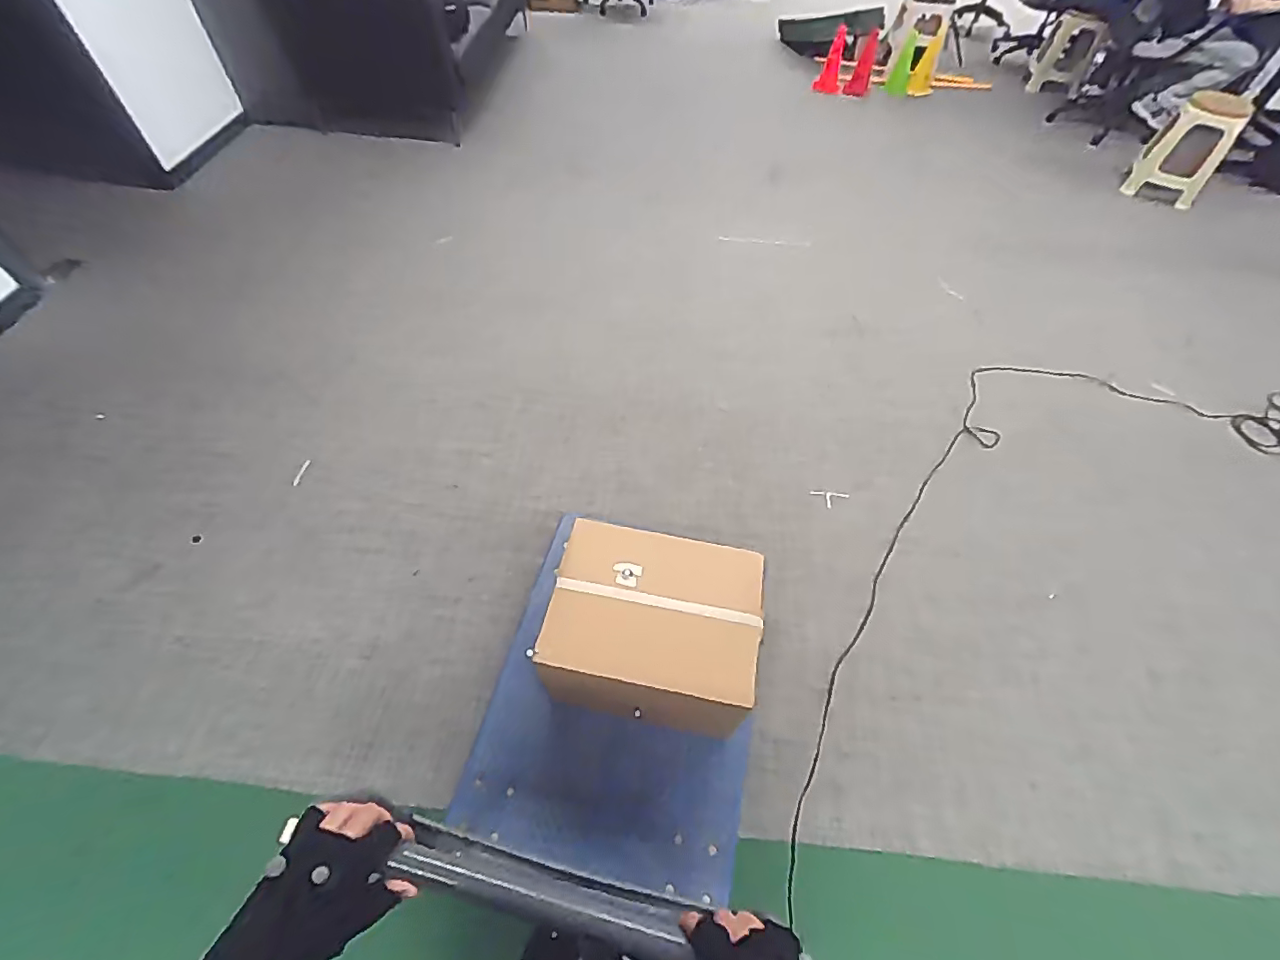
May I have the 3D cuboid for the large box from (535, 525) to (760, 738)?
[{"bbox_3d":[0.028,0.333,1.171,0.408,0.320,0.320,10,53,6],"label":"large box"}]
